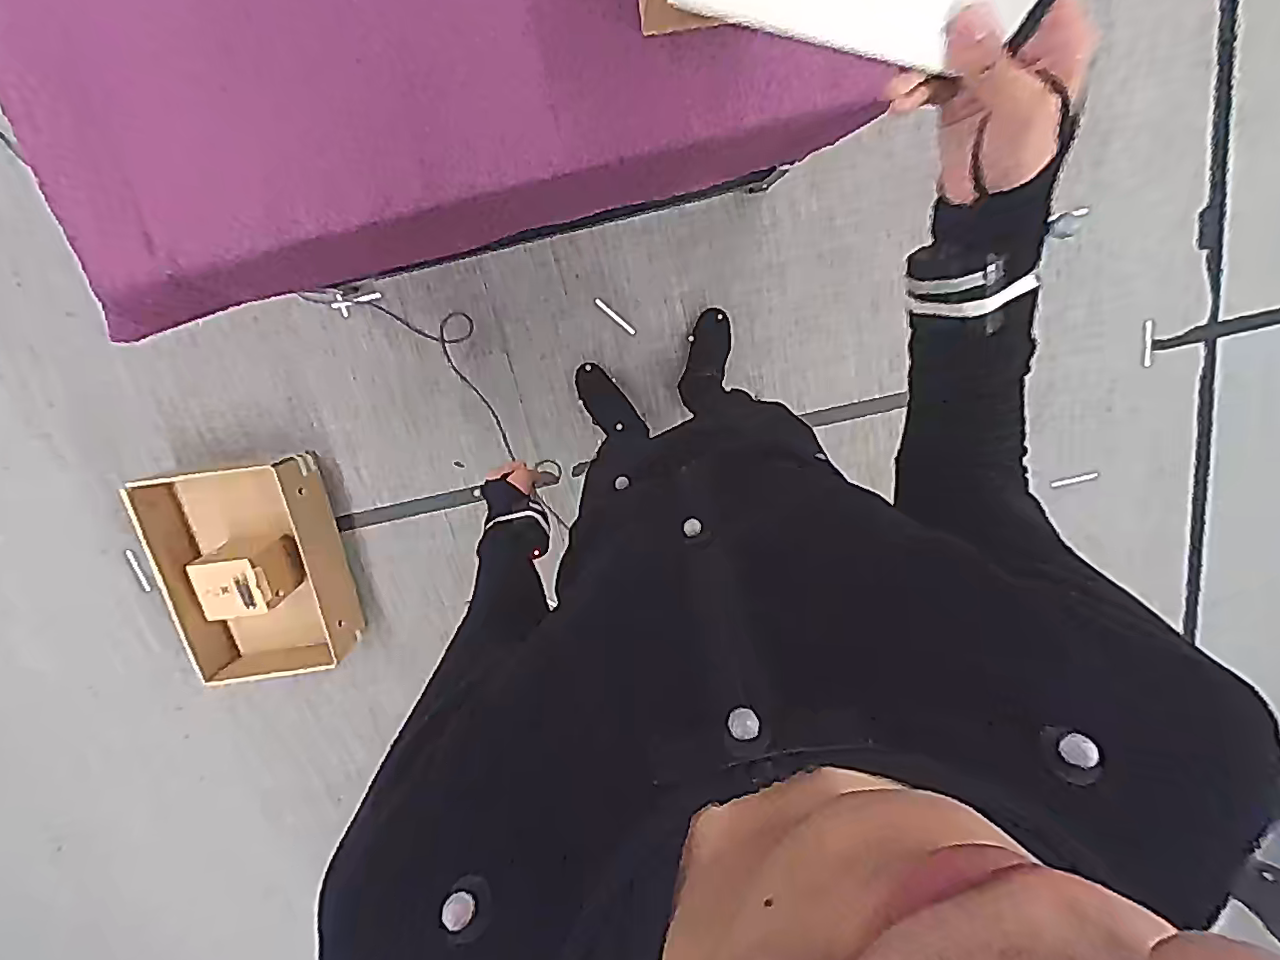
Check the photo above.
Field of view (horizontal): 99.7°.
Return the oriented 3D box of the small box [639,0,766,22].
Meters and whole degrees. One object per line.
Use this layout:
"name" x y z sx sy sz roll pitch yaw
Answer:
"small box" 0.076 -0.657 0.607 0.168 0.176 0.179 -8 106 -1
